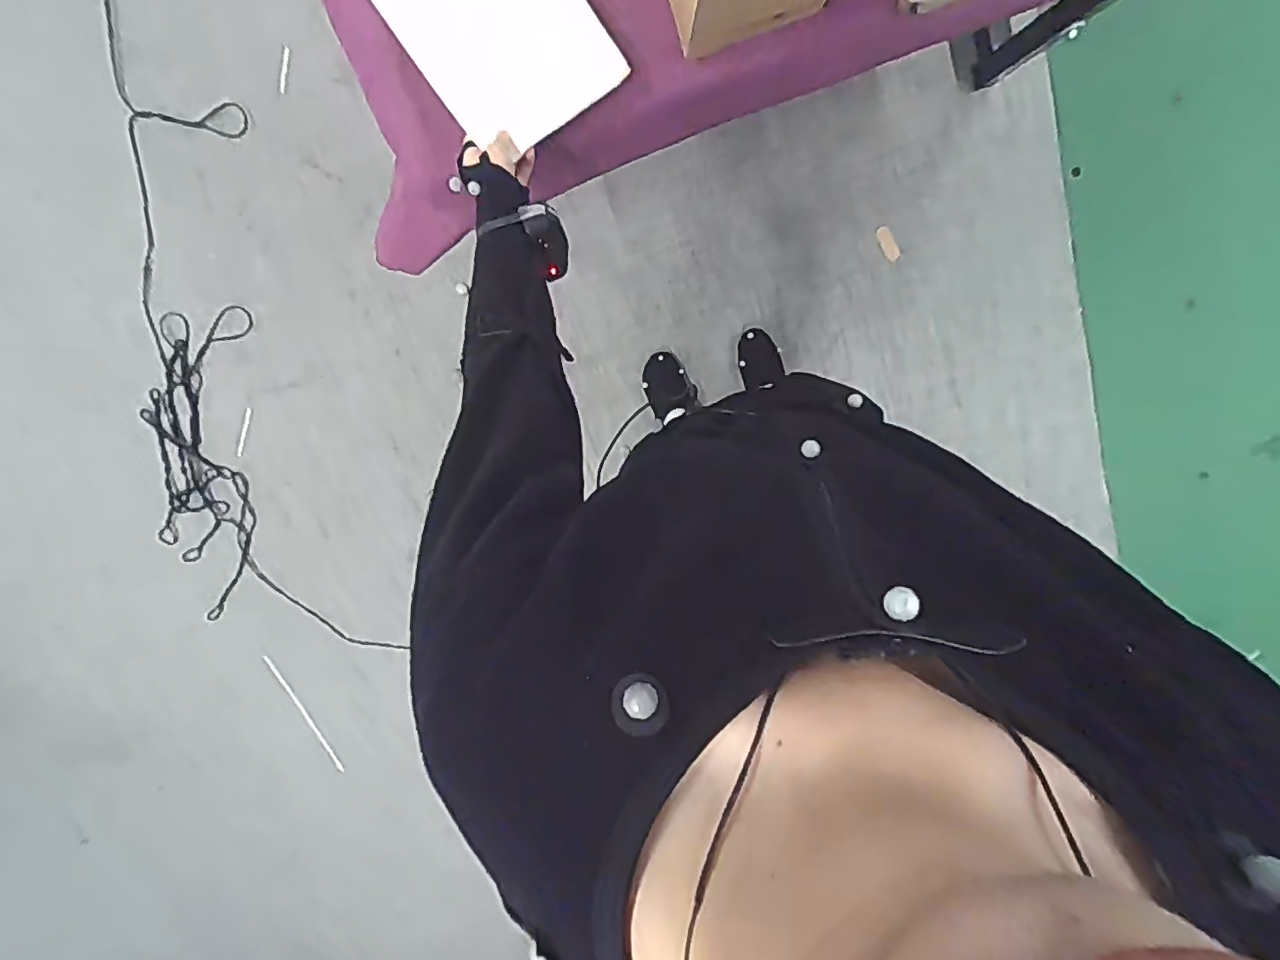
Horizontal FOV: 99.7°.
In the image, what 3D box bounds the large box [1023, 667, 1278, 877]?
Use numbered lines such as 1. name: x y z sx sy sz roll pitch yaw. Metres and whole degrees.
1. large box: 1.469 0.840 1.592 0.408 0.320 0.320 -34 103 6
